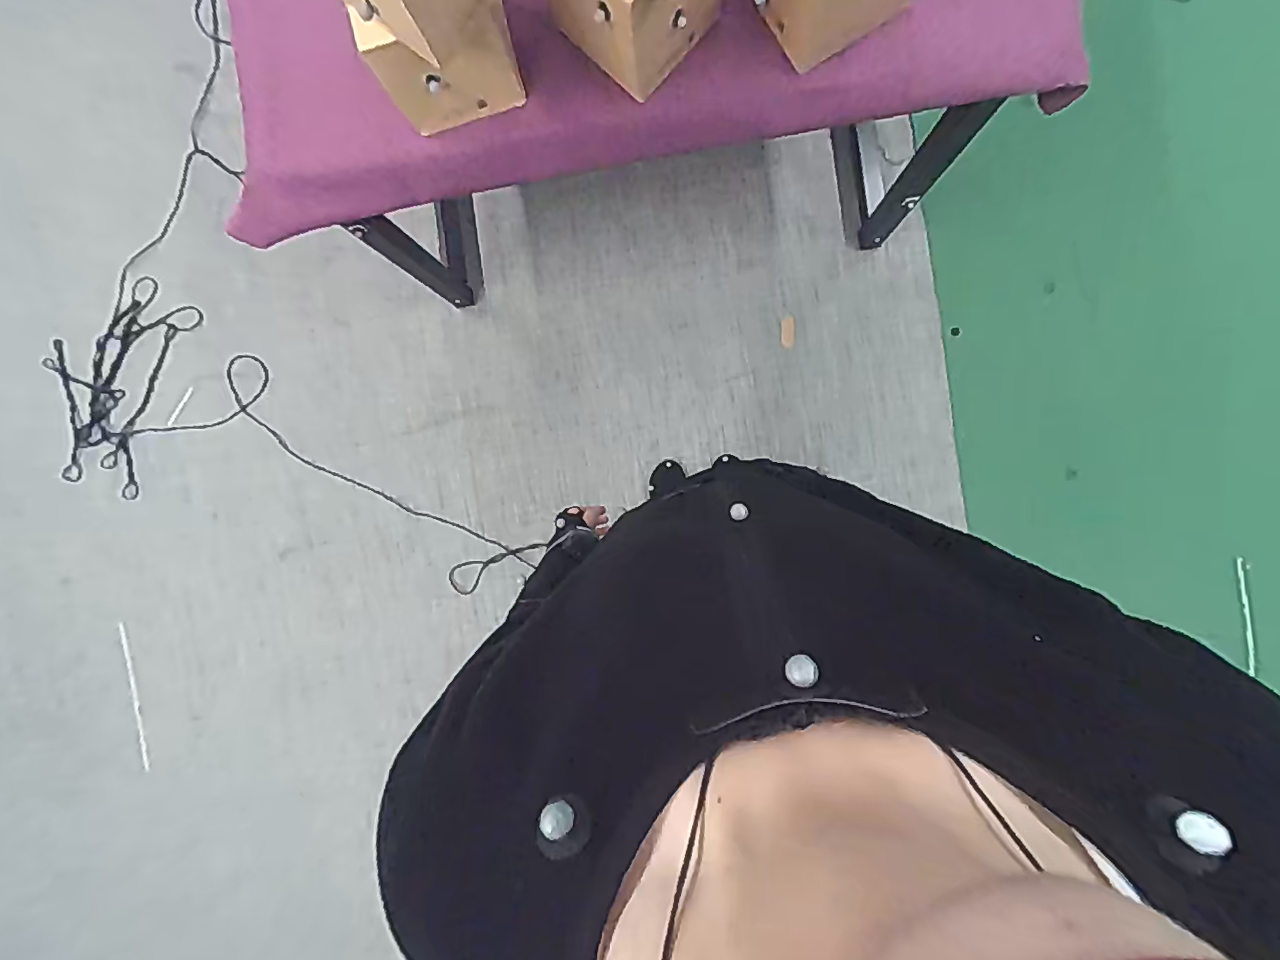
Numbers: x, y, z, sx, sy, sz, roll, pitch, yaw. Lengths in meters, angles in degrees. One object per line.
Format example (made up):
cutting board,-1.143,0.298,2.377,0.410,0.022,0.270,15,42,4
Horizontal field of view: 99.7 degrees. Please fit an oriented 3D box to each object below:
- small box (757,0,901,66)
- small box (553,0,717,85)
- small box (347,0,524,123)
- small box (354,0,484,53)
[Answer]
small box,0.250,-0.684,0.672,0.179,0.176,0.168,-30,87,5
small box,-0.009,-0.661,0.693,0.179,0.176,0.168,45,93,4
small box,-0.269,-0.617,0.719,0.168,0.176,0.179,-15,89,5
small box,-0.253,-0.597,0.553,0.179,0.176,0.168,37,93,3
